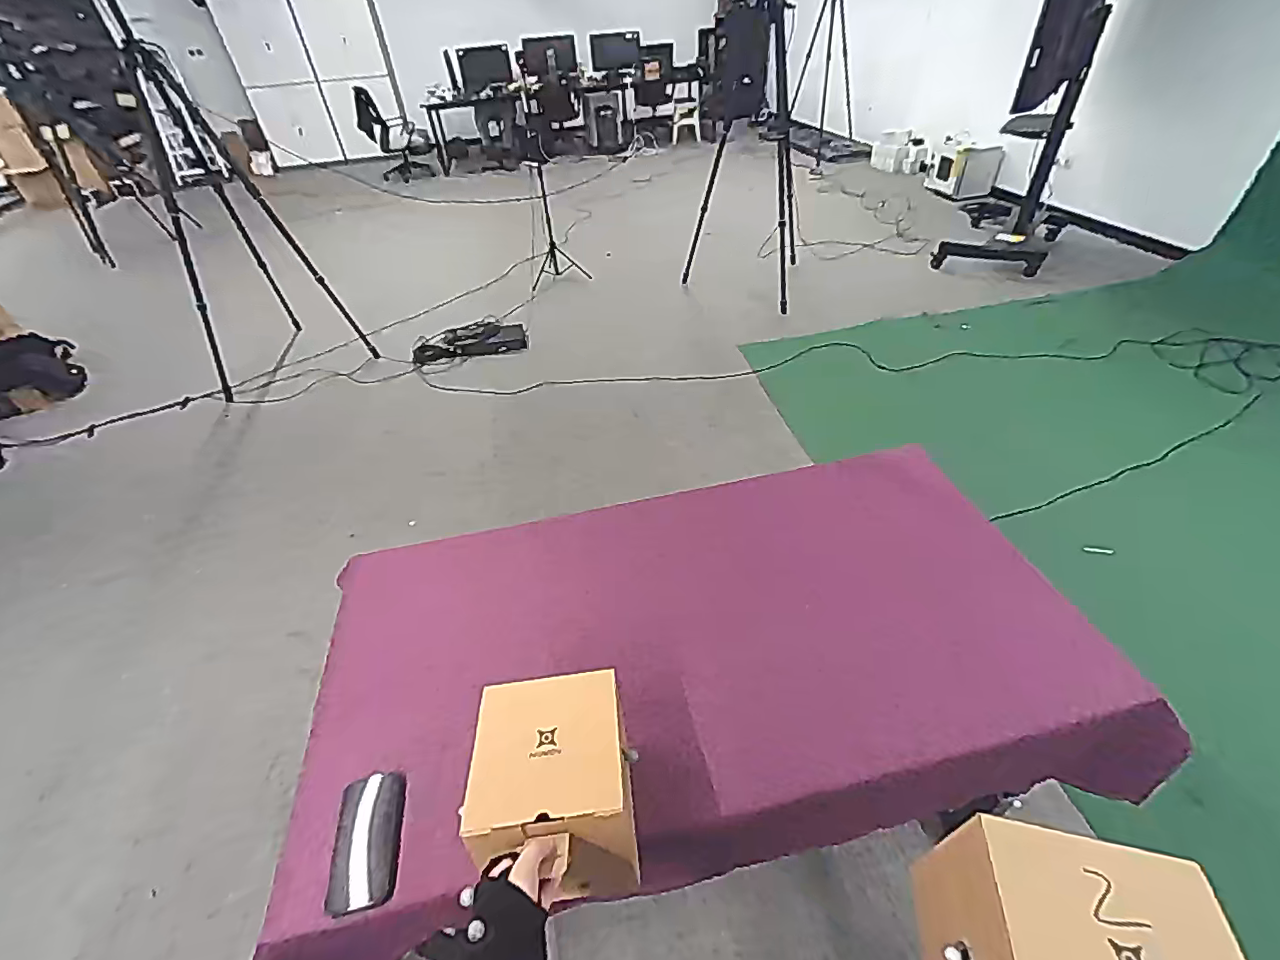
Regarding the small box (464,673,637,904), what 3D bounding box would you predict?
[{"bbox_3d":[-0.098,0.367,0.653,0.168,0.176,0.179,-8,33,-3],"label":"small box"}]
